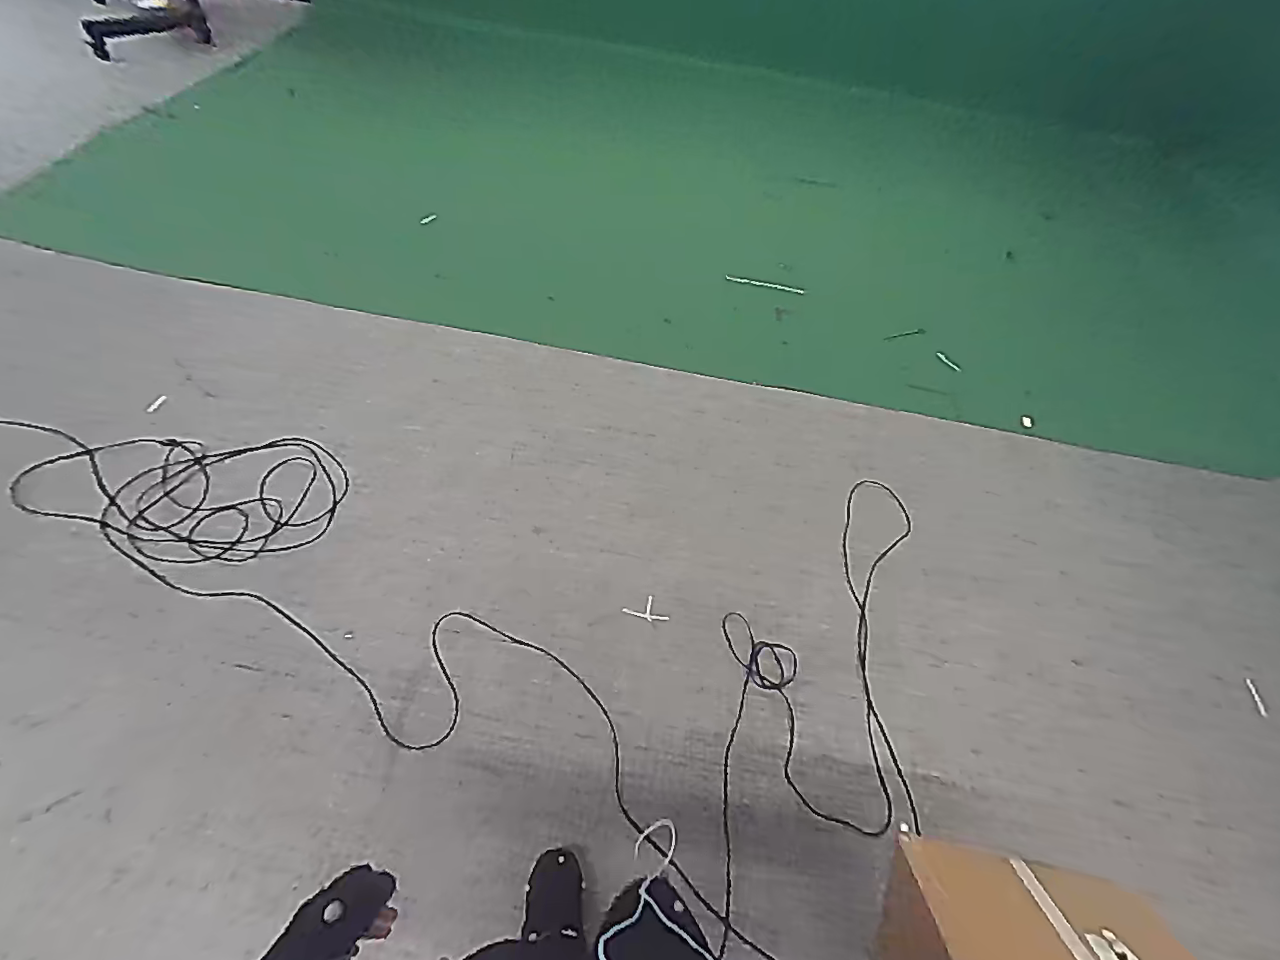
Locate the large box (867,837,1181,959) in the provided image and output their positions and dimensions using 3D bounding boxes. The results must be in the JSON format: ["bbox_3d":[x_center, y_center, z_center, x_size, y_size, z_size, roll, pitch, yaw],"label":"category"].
[{"bbox_3d":[0.469,0.707,0.592,0.320,0.408,0.320,10,96,7],"label":"large box"}]
